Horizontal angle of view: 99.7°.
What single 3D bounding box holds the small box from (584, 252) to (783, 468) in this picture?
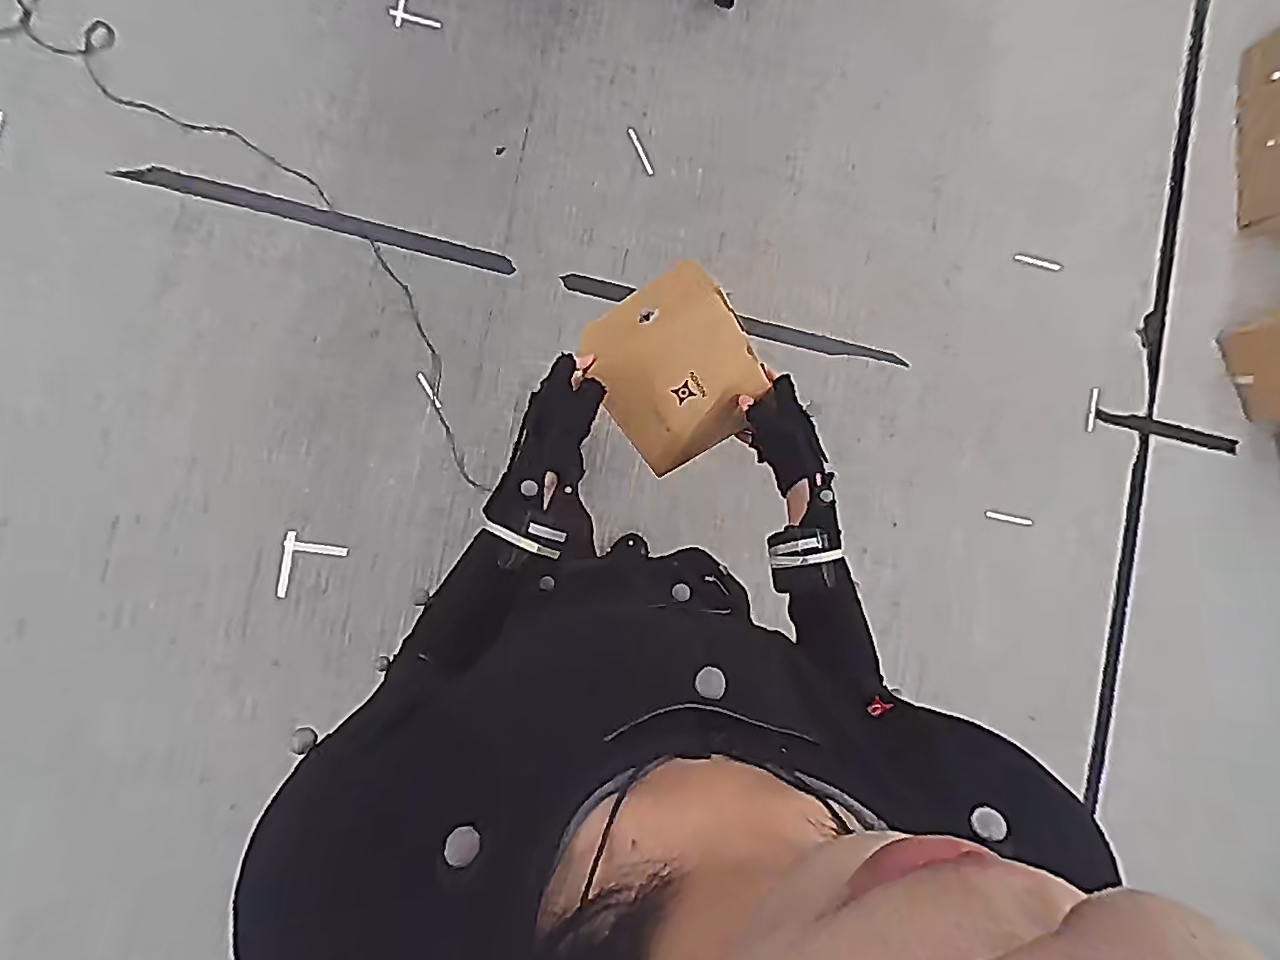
[{"bbox_3d":[0.042,-0.154,0.666,0.179,0.176,0.168,-32,119,12],"label":"small box"}]
